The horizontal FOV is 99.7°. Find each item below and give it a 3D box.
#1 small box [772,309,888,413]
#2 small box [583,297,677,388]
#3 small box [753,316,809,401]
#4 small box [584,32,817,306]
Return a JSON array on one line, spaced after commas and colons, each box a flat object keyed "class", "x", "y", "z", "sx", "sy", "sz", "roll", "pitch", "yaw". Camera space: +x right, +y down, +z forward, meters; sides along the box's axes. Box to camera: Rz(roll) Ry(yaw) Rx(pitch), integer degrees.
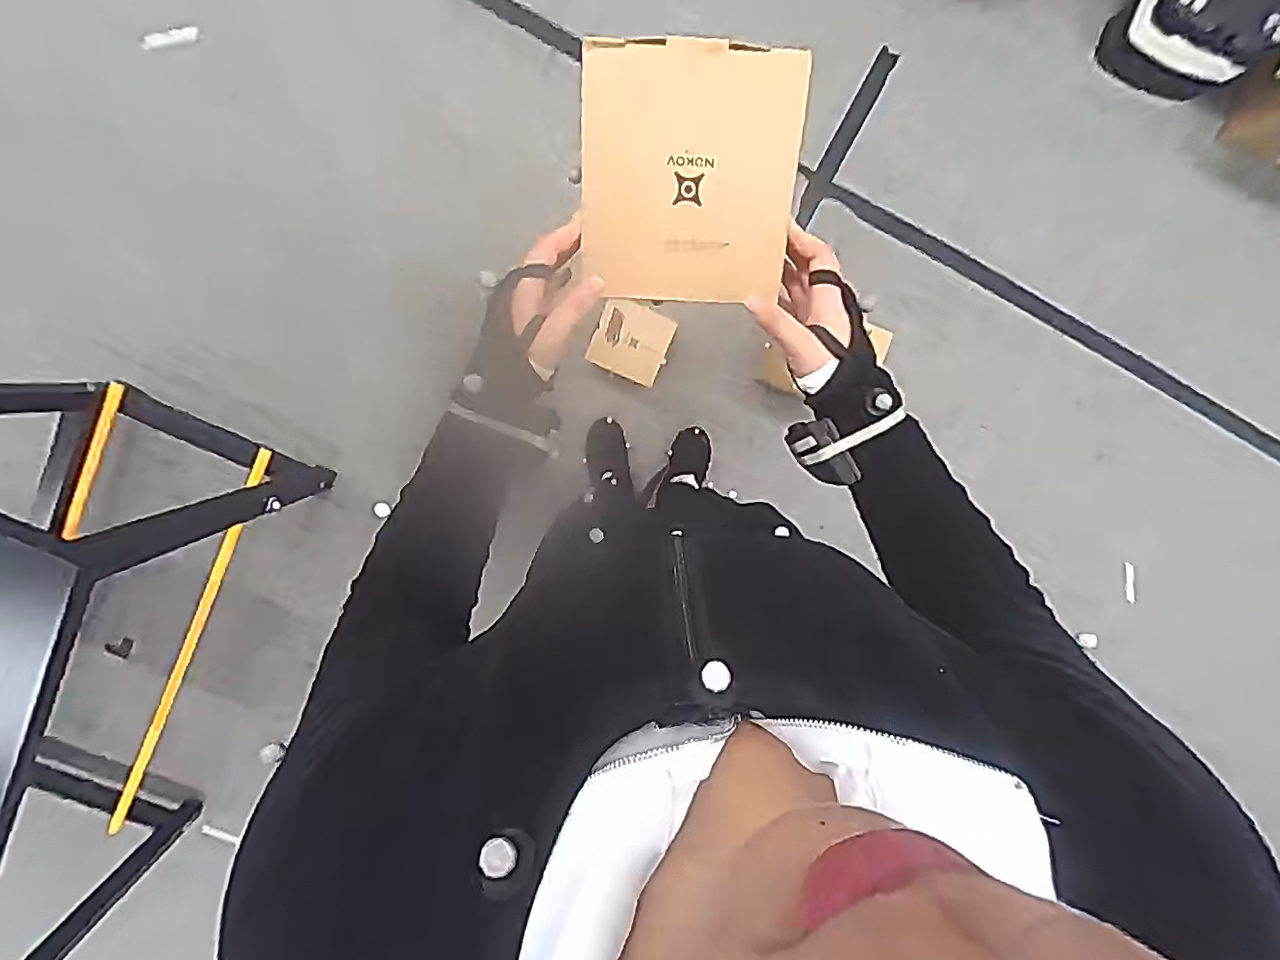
[{"class": "small box", "x": 0.413, "y": -0.264, "z": 1.212, "sx": 0.168, "sy": 0.176, "sz": 0.179, "roll": 19, "pitch": 100, "yaw": -6}, {"class": "small box", "x": -0.028, "y": -0.337, "z": 1.345, "sx": 0.179, "sy": 0.176, "sz": 0.168, "roll": 23, "pitch": 99, "yaw": -7}, {"class": "small box", "x": 0.412, "y": -0.301, "z": 1.372, "sx": 0.179, "sy": 0.176, "sz": 0.168, "roll": 20, "pitch": 99, "yaw": -6}, {"class": "small box", "x": 0.038, "y": -0.260, "z": 0.481, "sx": 0.168, "sy": 0.176, "sz": 0.179, "roll": 2, "pitch": 116, "yaw": -1}]
